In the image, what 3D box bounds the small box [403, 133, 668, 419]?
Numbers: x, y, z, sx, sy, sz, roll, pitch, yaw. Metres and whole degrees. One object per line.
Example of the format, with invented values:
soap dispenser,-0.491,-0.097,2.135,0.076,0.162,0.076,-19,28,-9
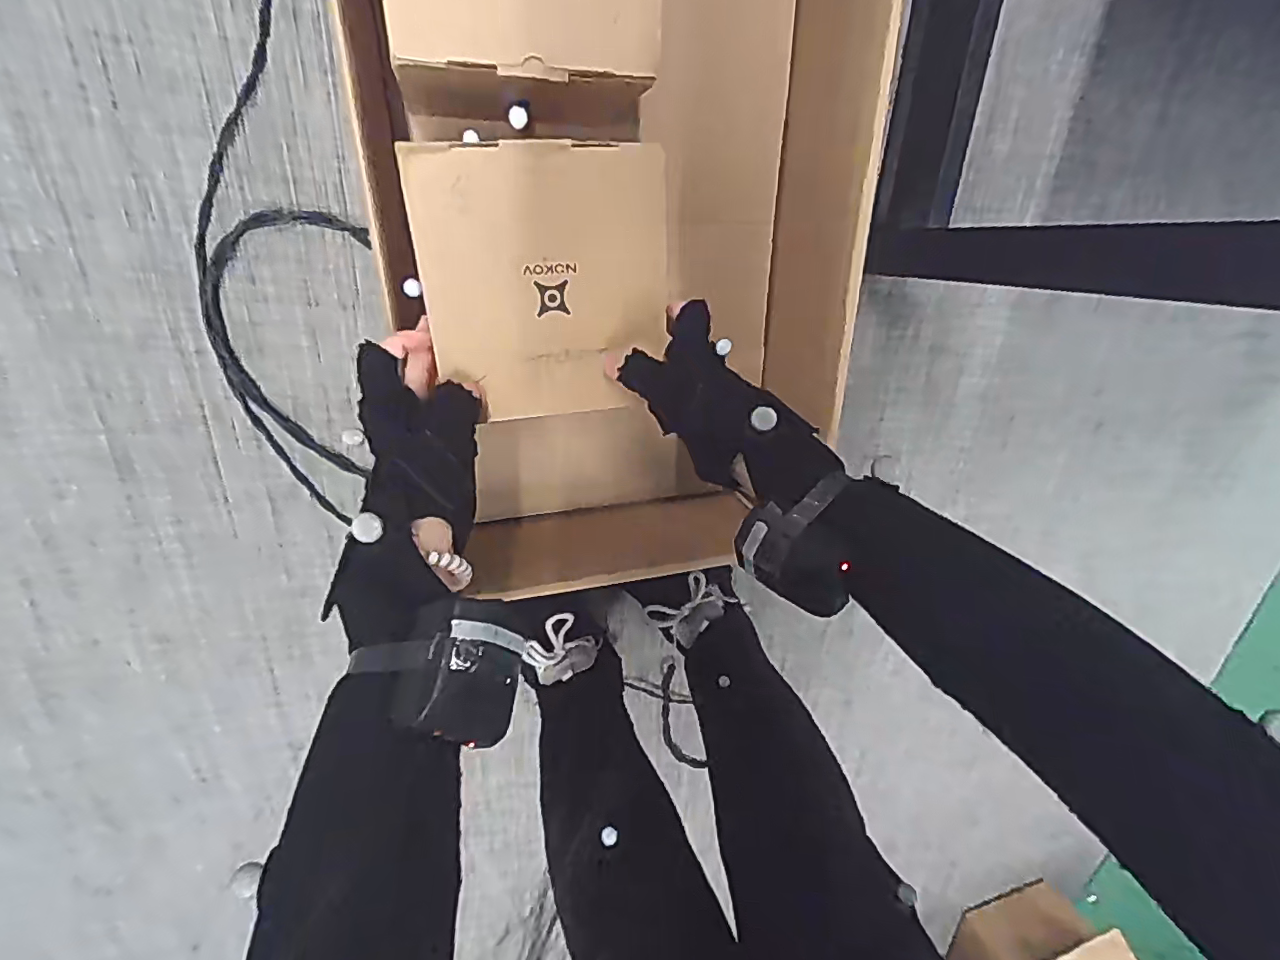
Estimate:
small box,-0.082,-0.162,0.438,0.168,0.176,0.179,-9,114,-13
